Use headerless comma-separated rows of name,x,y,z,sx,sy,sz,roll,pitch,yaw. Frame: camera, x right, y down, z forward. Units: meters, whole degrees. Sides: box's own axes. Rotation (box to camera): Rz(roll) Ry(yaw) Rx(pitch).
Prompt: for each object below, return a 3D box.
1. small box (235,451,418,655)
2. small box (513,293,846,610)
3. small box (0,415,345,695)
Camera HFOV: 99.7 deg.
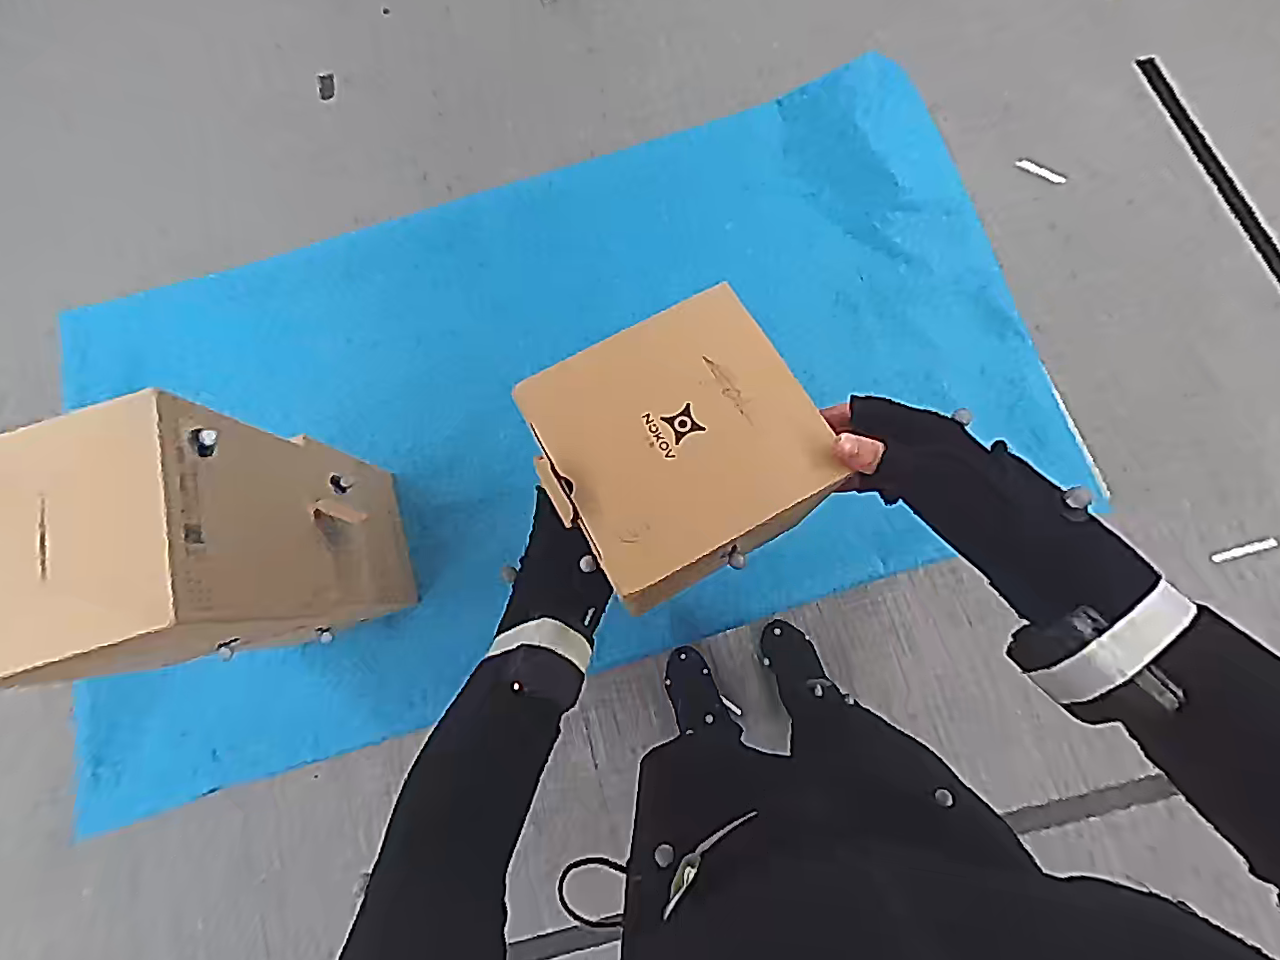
small box,-0.373,0.087,0.600,0.168,0.176,0.179,-16,79,3
small box,0.027,-0.006,0.438,0.179,0.176,0.168,-27,74,-5
small box,-0.381,0.062,0.435,0.179,0.176,0.168,-17,76,1
